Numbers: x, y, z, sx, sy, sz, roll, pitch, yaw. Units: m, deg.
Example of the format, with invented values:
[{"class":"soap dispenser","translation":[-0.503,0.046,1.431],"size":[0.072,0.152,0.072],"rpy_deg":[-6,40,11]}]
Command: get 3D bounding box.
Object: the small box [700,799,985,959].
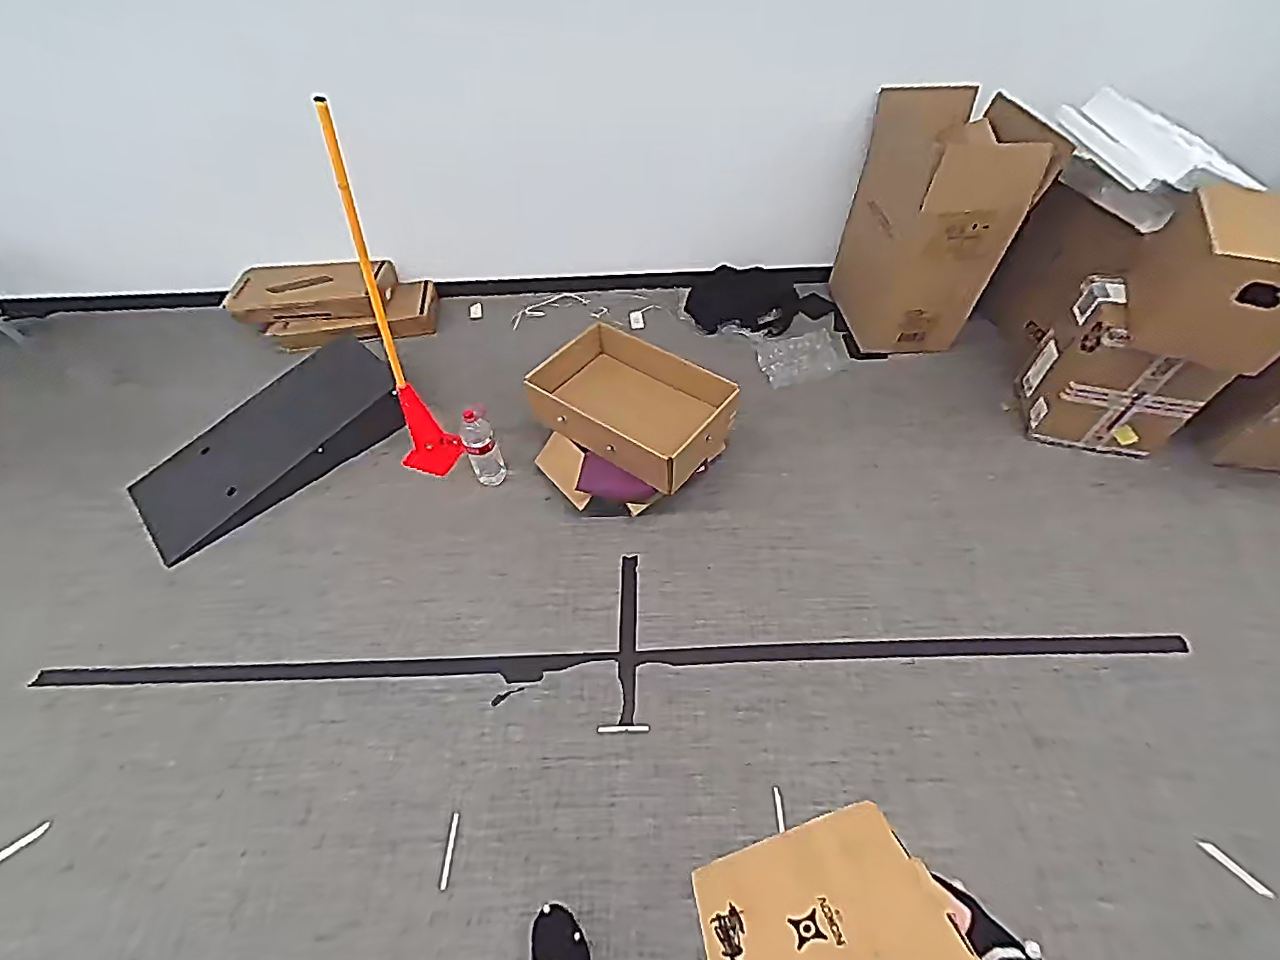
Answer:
[{"class":"small box","translation":[0.167,0.404,0.422],"size":[0.179,0.176,0.168],"rpy_deg":[-22,10,0]}]
